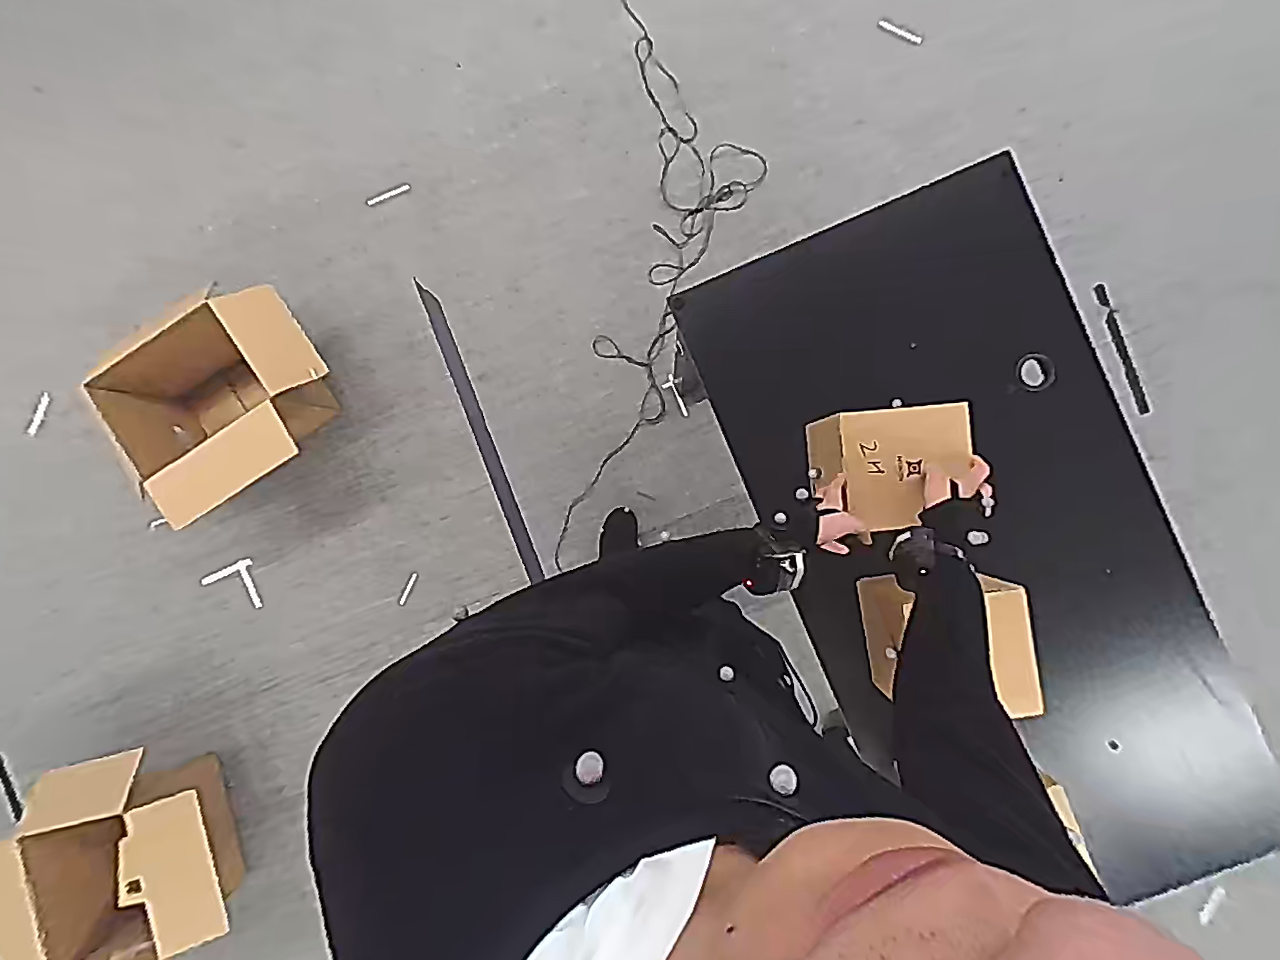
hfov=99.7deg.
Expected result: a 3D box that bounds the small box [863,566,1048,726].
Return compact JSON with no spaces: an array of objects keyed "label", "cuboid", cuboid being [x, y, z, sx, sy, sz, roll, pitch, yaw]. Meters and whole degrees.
[{"label":"small box","cuboid":[0.451,0.234,0.800,0.168,0.176,0.179,-9,88,2]}]

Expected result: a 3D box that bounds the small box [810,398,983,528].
[{"label":"small box","cuboid":[0.368,-0.022,0.801,0.179,0.176,0.168,-5,89,3]}]

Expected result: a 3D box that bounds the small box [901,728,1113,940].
[{"label":"small box","cuboid":[0.522,0.505,0.796,0.168,0.176,0.179,-20,88,2]}]
